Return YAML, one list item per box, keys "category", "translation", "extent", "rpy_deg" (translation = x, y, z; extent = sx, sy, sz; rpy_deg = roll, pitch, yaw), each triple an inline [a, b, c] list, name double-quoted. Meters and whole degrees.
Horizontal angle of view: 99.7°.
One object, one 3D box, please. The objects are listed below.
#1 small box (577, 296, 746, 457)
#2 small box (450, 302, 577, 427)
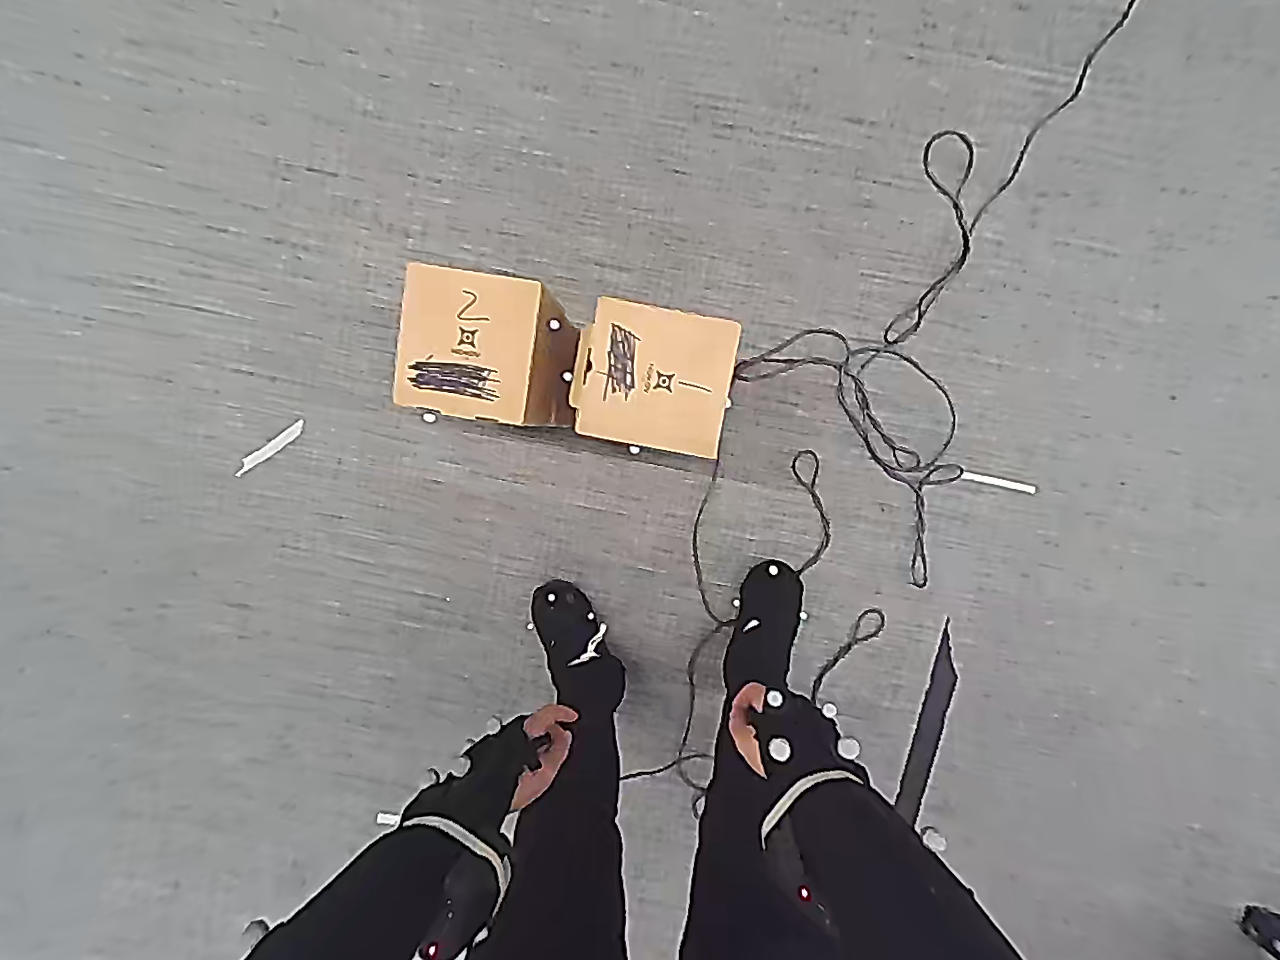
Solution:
- category: "small box"
  translation: [0.027, -0.129, 0.719]
  extent: [0.179, 0.176, 0.168]
  rpy_deg: [11, 96, 1]
- category: "small box"
  translation: [-0.199, -0.181, 0.892]
  extent: [0.168, 0.176, 0.179]
  rpy_deg: [5, 96, 2]
